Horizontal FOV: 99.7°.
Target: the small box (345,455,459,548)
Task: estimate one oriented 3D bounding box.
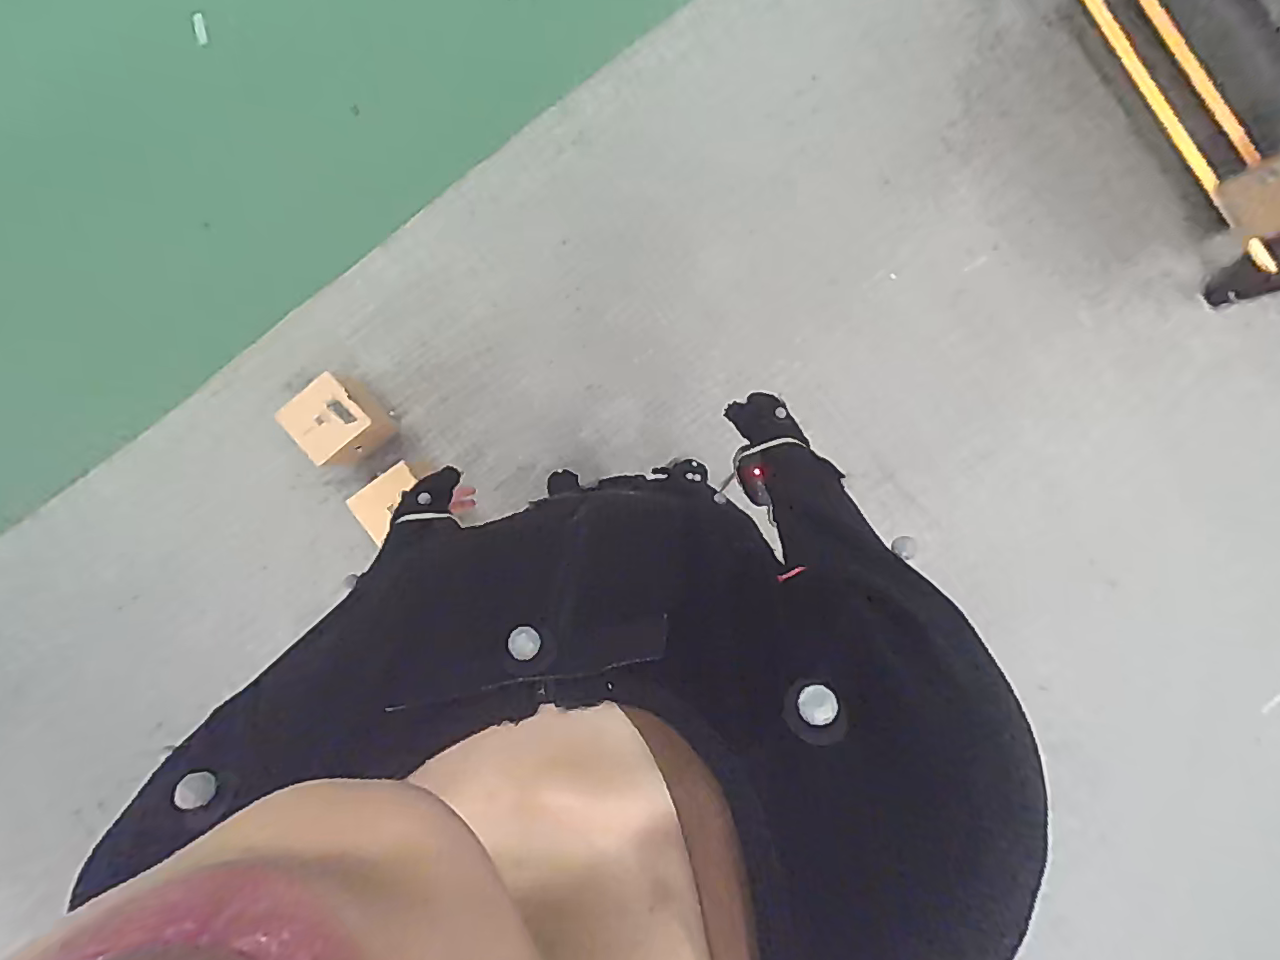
[{"bbox_3d":[-0.603,0.052,1.395,0.179,0.176,0.168,-36,93,1],"label":"small box"}]

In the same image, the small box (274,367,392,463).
[{"bbox_3d":[-0.765,-0.163,1.378,0.179,0.176,0.168,-39,93,2],"label":"small box"}]
